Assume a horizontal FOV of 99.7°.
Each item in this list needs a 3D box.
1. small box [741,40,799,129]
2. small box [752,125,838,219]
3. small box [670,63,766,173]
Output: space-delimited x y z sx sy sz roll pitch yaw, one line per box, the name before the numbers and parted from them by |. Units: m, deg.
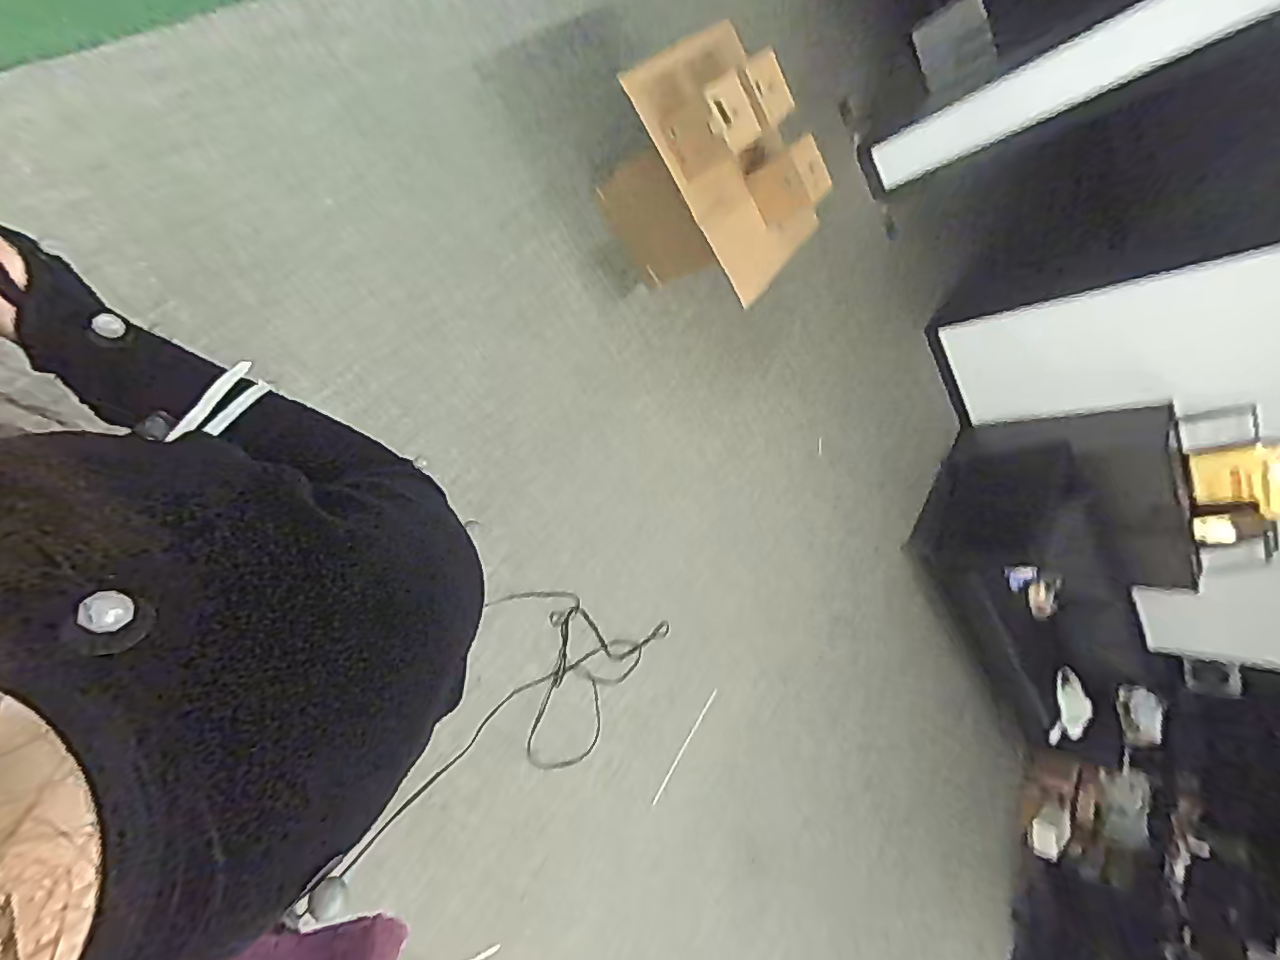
small box | 0.330 -1.122 1.576 0.168 0.176 0.179 52 58 -24
small box | 0.481 -0.957 1.693 0.168 0.176 0.179 -48 115 -30
small box | 0.204 -0.974 1.468 0.179 0.176 0.168 -50 117 -30
